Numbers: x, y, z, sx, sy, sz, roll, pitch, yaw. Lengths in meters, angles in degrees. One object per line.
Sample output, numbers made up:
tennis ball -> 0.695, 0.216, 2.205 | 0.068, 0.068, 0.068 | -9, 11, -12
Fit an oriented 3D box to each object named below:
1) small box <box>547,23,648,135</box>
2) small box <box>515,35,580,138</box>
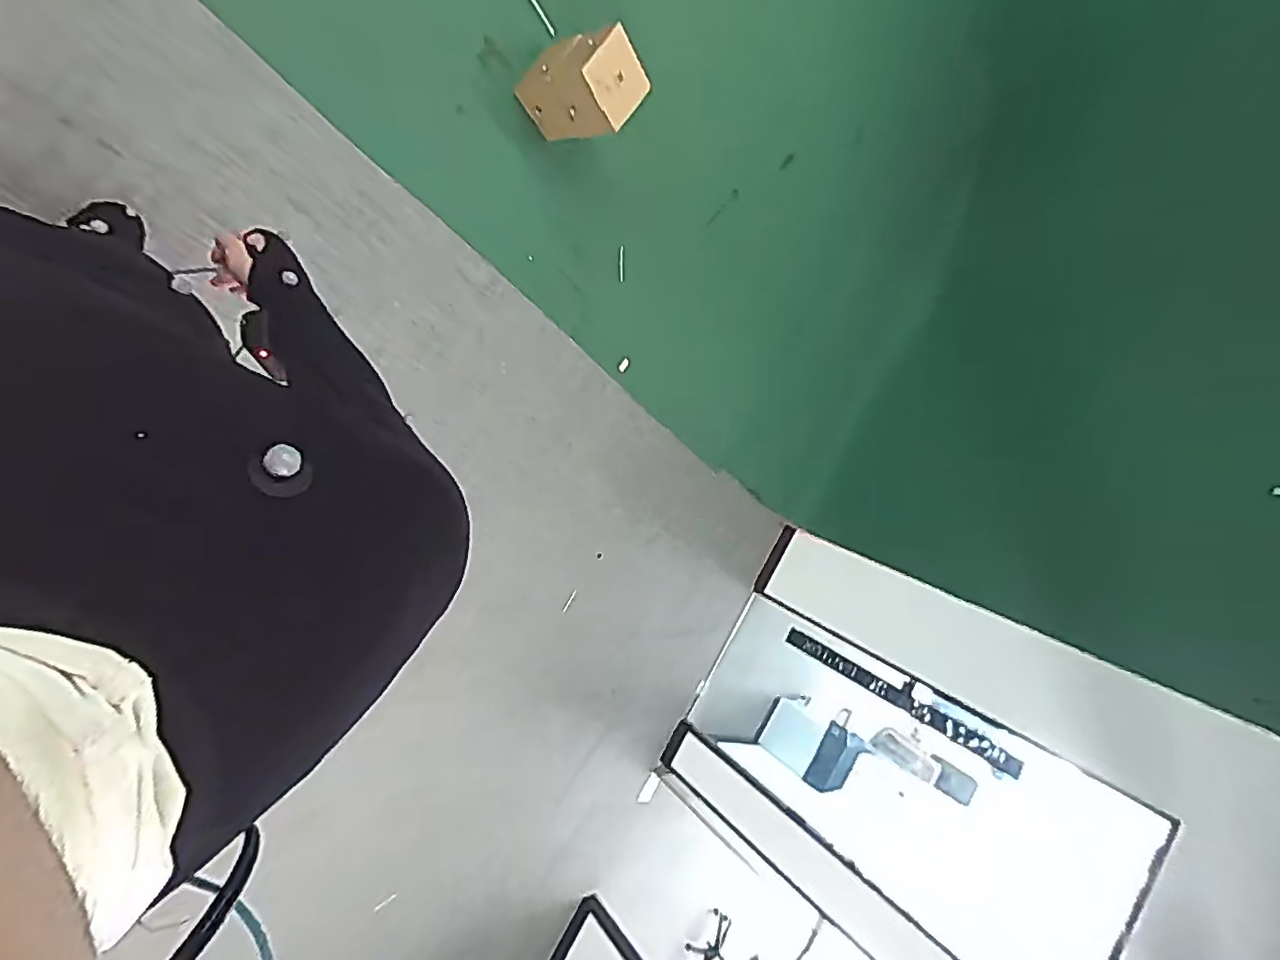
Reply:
small box -> -0.116, -1.064, 1.448 | 0.179, 0.176, 0.168 | -56, 137, -8
small box -> -0.226, -1.123, 1.556 | 0.179, 0.176, 0.168 | -57, 138, -7
